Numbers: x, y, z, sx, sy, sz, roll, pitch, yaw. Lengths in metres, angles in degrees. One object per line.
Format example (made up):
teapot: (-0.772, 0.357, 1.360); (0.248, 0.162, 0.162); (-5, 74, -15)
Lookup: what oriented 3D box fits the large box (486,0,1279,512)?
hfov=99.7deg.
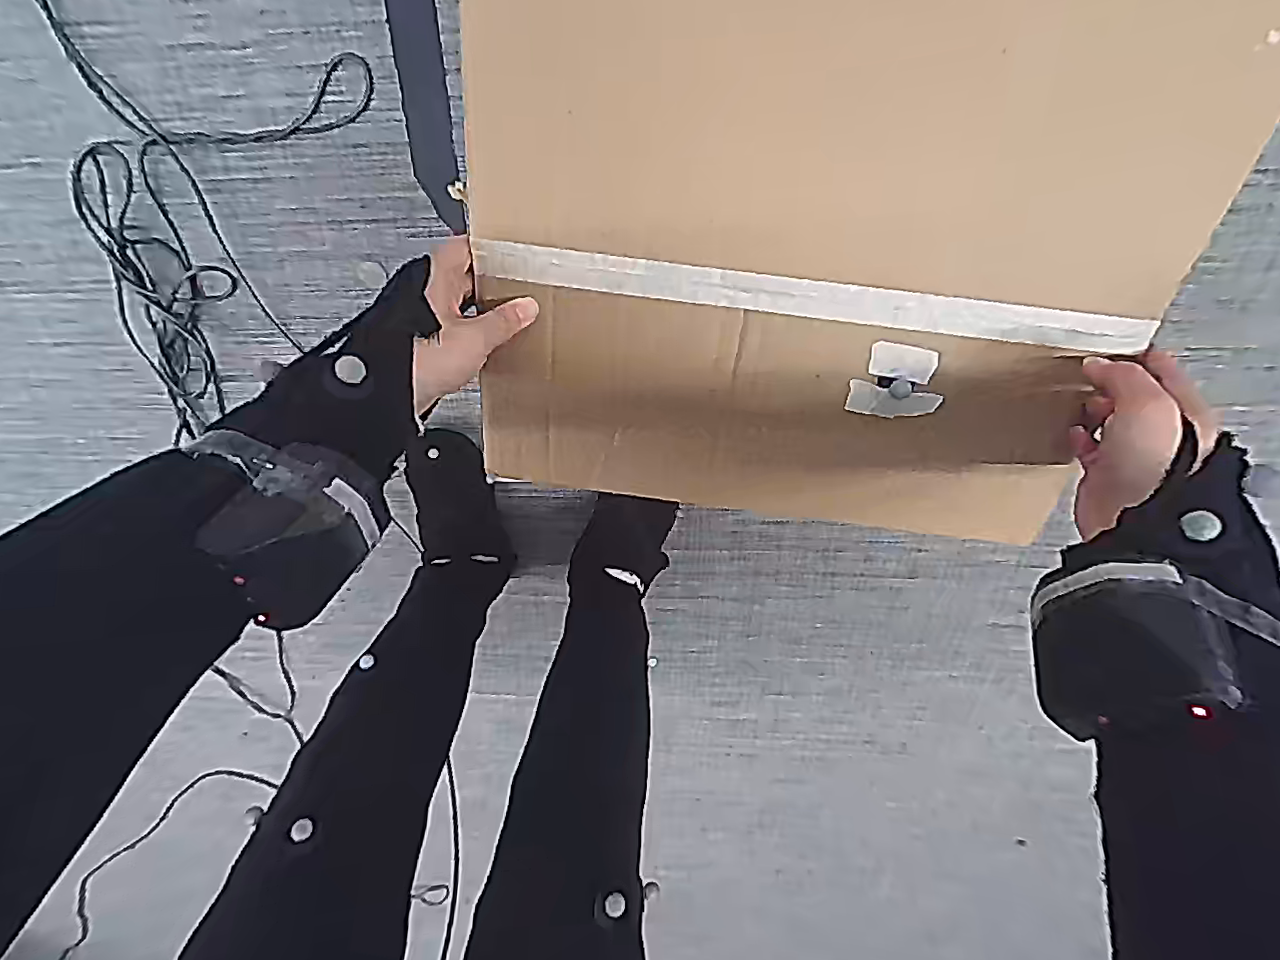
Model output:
large box: (0.118, -0.201, 0.447); (0.408, 0.320, 0.320); (7, 121, 0)
